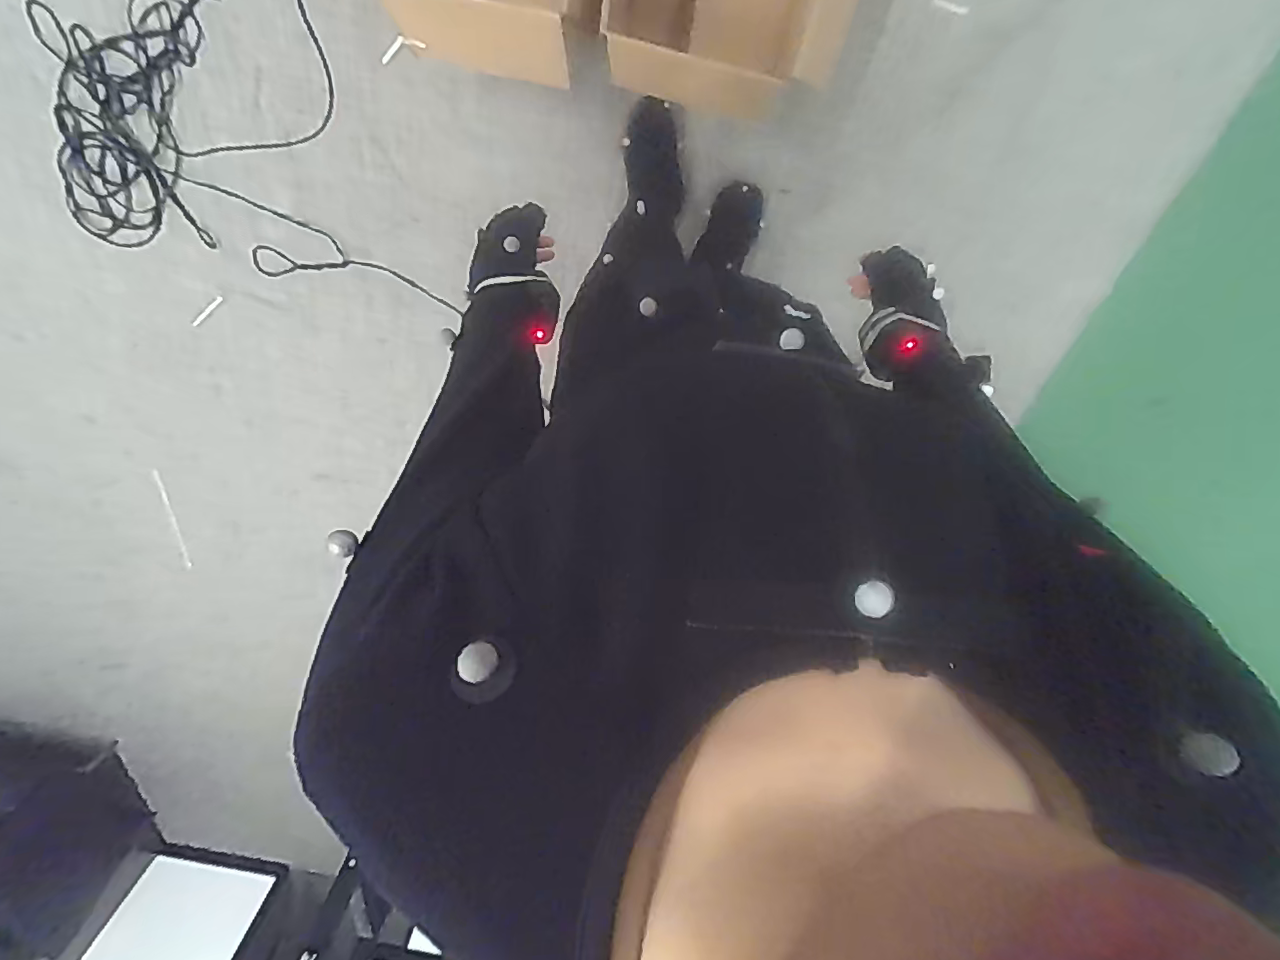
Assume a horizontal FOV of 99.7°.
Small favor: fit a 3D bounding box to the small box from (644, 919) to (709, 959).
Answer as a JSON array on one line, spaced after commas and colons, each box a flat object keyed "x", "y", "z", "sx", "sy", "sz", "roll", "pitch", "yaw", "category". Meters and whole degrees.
[{"x": 0.106, "y": 1.456, "z": 1.622, "sx": 0.168, "sy": 0.176, "sz": 0.179, "roll": 16, "pitch": 124, "yaw": -3, "category": "small box"}]
